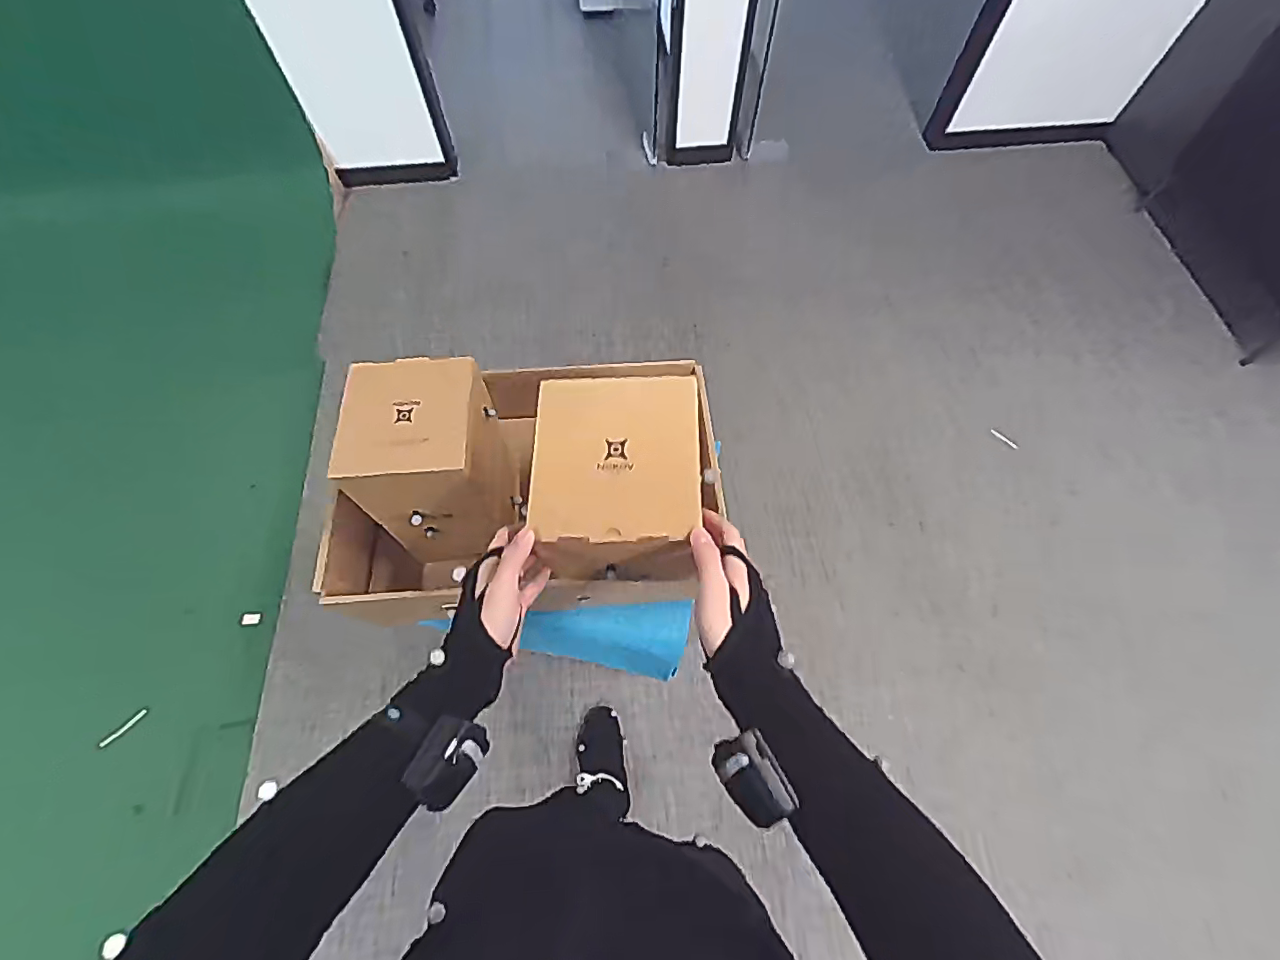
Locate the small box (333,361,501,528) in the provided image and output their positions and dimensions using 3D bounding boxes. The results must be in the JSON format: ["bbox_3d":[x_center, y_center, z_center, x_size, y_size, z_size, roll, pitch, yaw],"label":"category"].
[{"bbox_3d":[-0.297,-0.046,0.765,0.168,0.176,0.179,-3,63,-3],"label":"small box"}]

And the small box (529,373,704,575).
[{"bbox_3d":[-0.017,0.000,0.605,0.168,0.176,0.179,-1,68,4],"label":"small box"}]
